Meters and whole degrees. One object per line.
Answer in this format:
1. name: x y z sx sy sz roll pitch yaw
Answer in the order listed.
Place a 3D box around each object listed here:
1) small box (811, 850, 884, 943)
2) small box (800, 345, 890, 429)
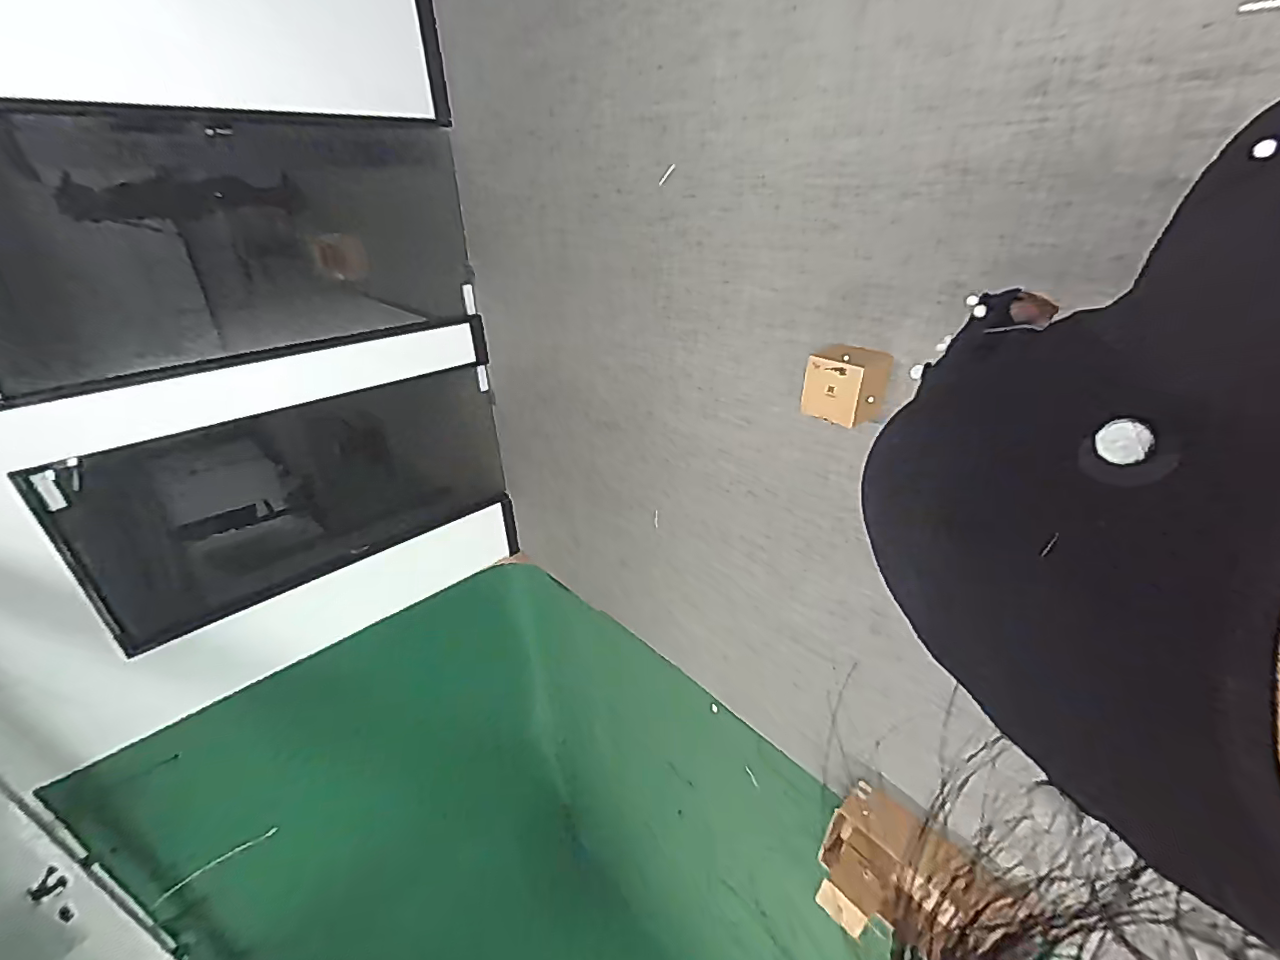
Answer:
1. small box: 0.746 1.489 1.940 0.168 0.176 0.179 31 129 37
2. small box: 0.583 -0.269 1.534 0.168 0.176 0.179 28 130 40
